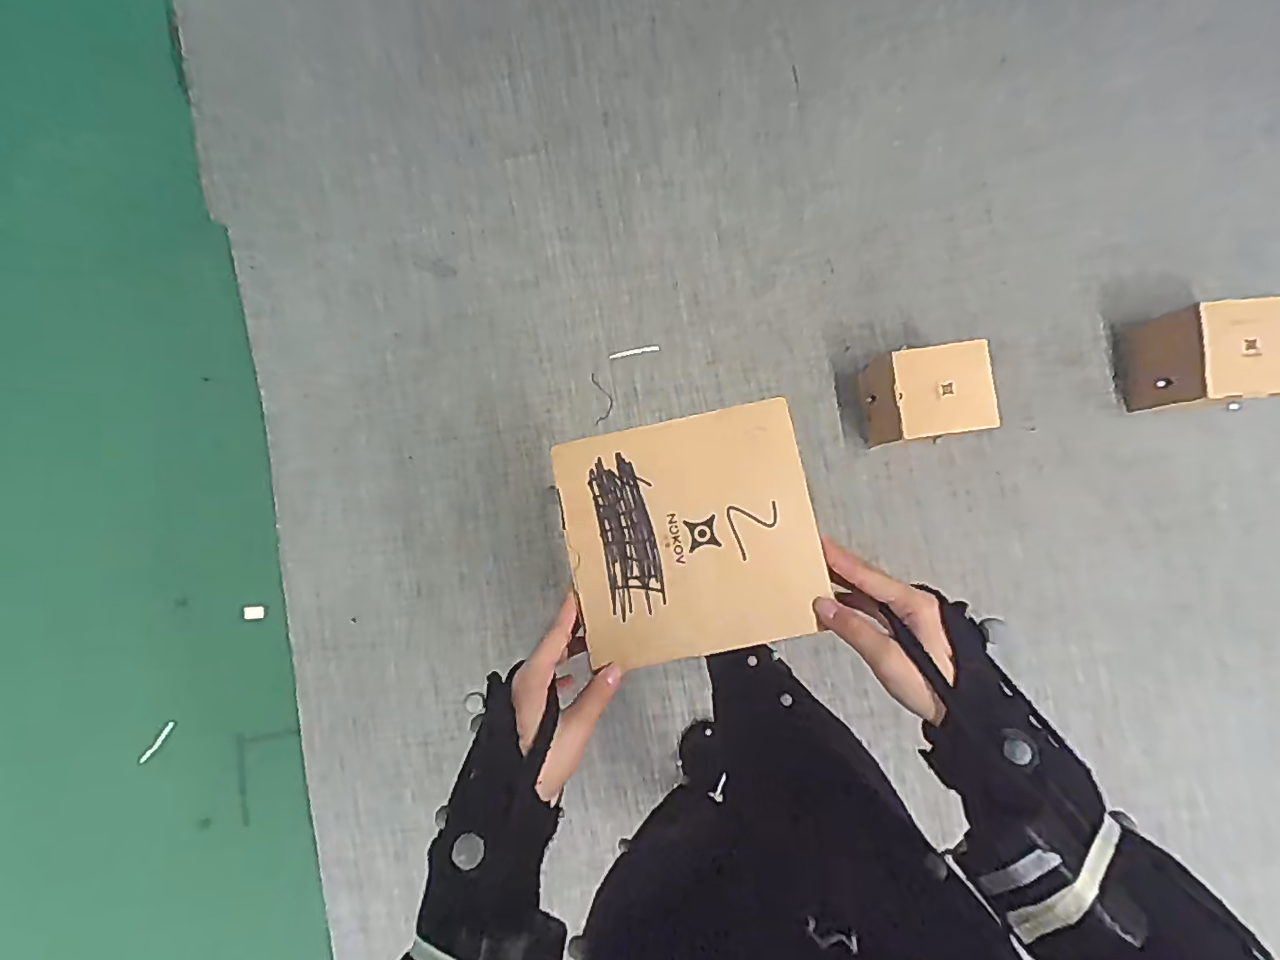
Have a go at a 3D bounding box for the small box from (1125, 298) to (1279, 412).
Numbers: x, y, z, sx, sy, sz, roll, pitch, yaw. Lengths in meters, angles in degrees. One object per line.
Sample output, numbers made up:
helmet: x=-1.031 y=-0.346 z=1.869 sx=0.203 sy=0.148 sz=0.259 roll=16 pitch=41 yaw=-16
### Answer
small box: x=1.076 y=-0.227 z=1.026 sx=0.168 sy=0.176 sz=0.179 roll=-4 pitch=87 yaw=2

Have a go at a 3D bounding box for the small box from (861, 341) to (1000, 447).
small box: x=0.558 y=-0.160 z=1.058 sx=0.179 sy=0.176 sz=0.168 roll=-8 pitch=88 yaw=4
